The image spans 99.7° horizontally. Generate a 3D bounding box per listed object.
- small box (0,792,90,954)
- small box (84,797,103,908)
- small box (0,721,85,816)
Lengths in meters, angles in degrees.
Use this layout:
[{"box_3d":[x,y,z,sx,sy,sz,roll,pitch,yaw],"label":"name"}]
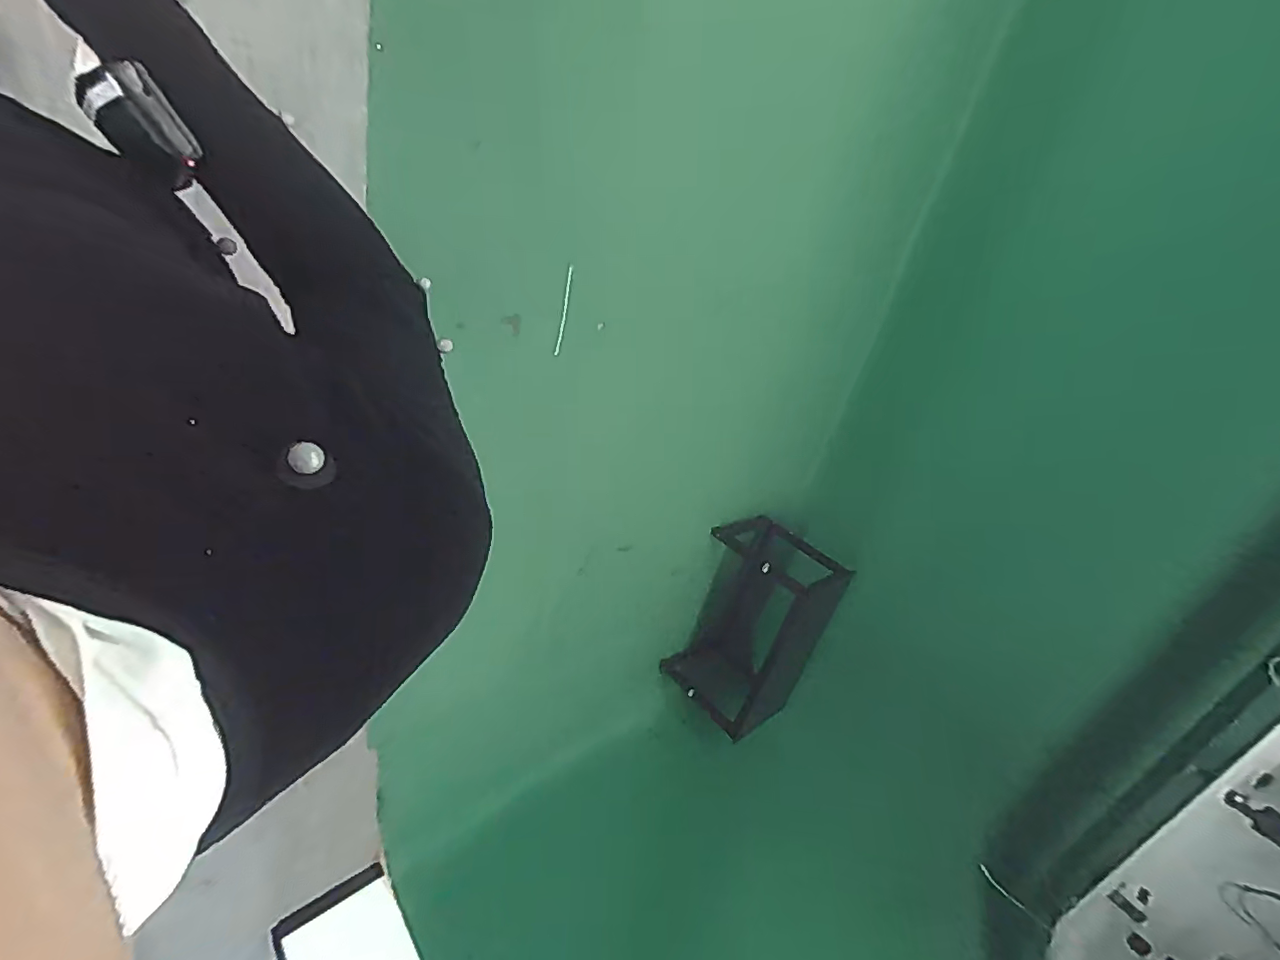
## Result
[{"box_3d":[-1.101,0.692,0.954,0.168,0.176,0.179,-7,124,-43],"label":"small box"},{"box_3d":[-1.278,0.829,1.158,0.168,0.176,0.179,-10,123,-42],"label":"small box"},{"box_3d":[-1.206,0.612,1.050,0.168,0.176,0.179,-8,126,-44],"label":"small box"}]
